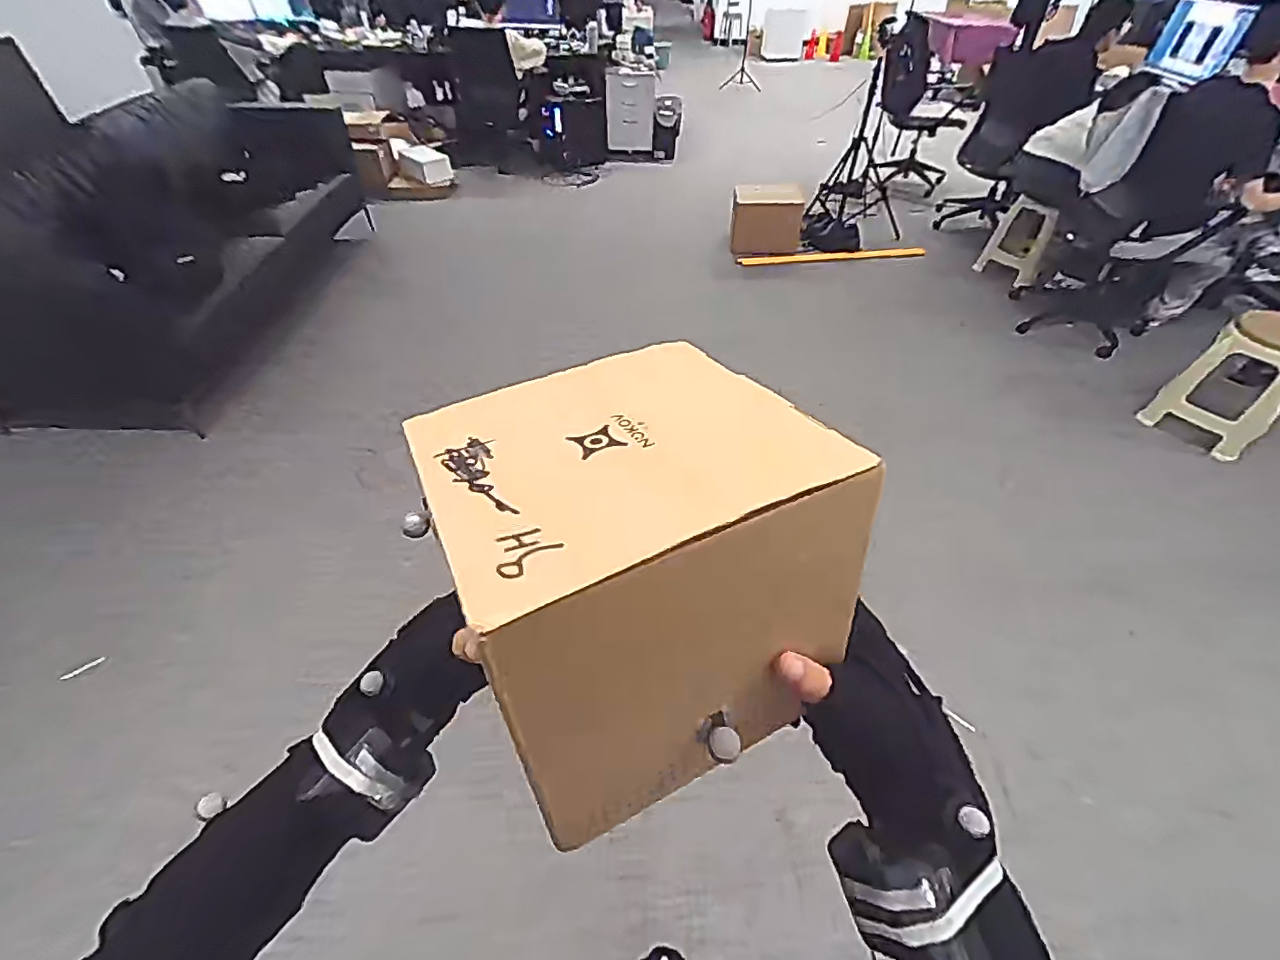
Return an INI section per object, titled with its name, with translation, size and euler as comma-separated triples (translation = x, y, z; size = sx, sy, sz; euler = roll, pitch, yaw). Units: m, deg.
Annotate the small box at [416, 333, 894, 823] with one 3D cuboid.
[small box]
translation = -0.002, 0.040, 0.300
size = 0.179, 0.176, 0.168
euler = -19, 38, -20
